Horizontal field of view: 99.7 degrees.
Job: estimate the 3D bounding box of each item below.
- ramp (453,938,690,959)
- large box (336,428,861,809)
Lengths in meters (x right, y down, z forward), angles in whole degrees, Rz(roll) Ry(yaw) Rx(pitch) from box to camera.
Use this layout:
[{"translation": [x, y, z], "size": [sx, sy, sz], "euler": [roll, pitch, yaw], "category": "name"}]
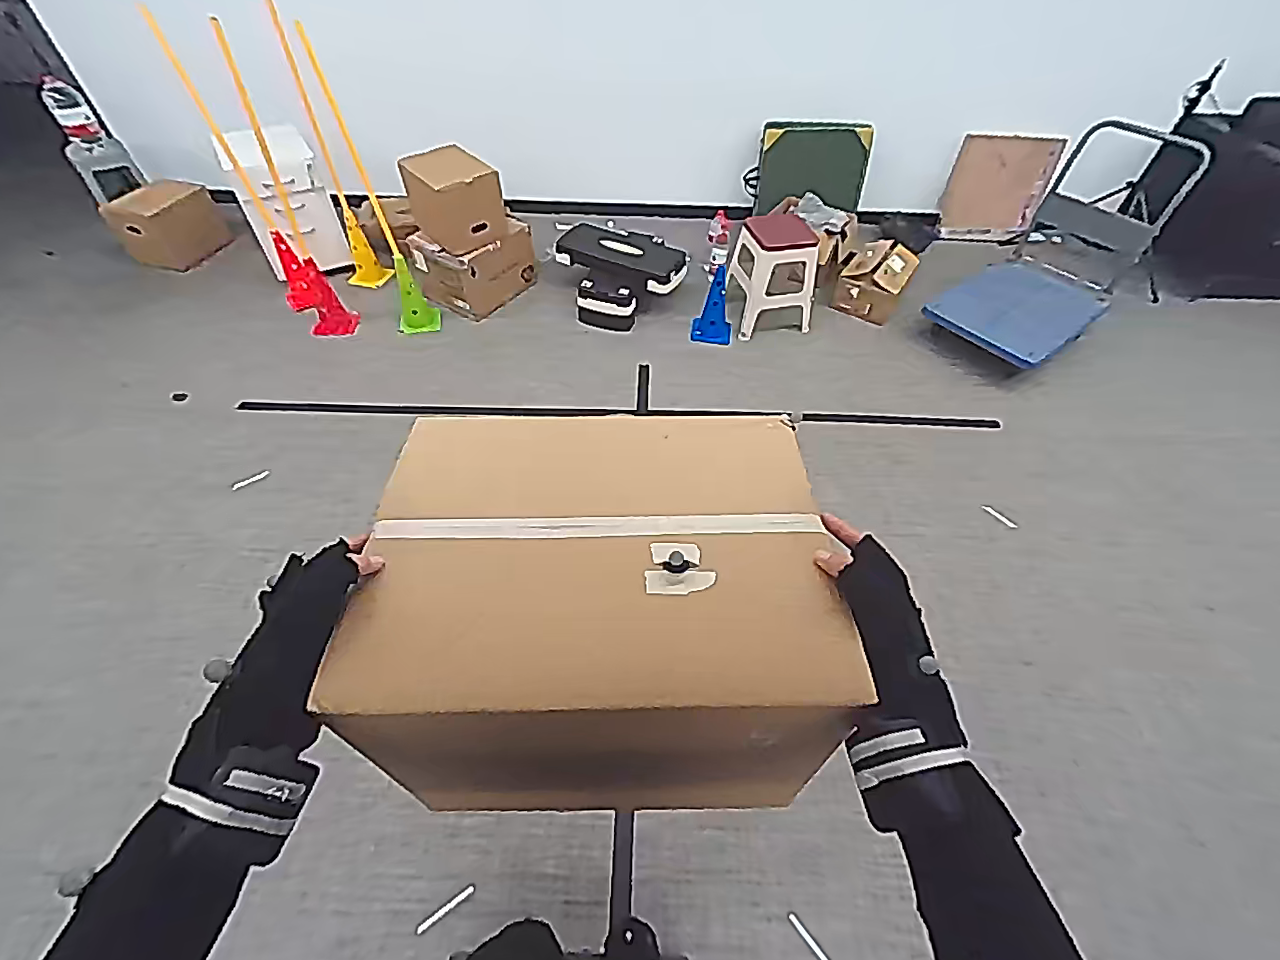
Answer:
[{"translation": [-0.146, 1.390, 0.880], "size": [0.509, 0.206, 0.991], "euler": [1, 51, -2], "category": "ramp"}, {"translation": [-0.035, 0.156, 0.611], "size": [0.408, 0.320, 0.320], "euler": [0, 47, -1], "category": "large box"}]
